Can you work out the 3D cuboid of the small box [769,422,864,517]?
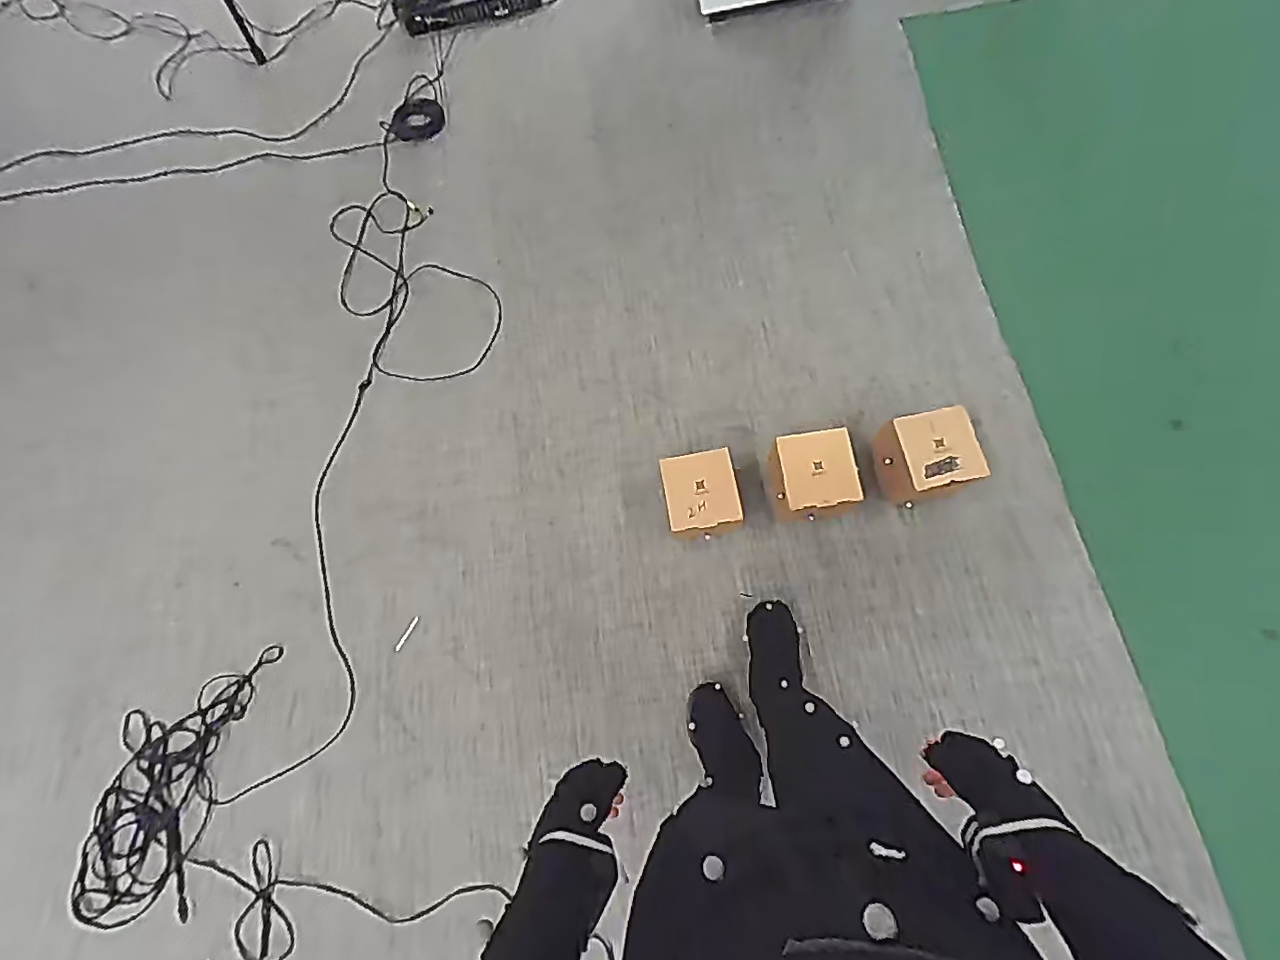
[{"bbox_3d":[0.412,-0.020,1.296,0.168,0.176,0.179,-8,75,4],"label":"small box"}]

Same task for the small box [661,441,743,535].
[{"bbox_3d":[0.148,0.025,1.309,0.168,0.176,0.179,-10,75,5],"label":"small box"}]

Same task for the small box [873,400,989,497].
[{"bbox_3d":[0.677,-0.066,1.278,0.168,0.176,0.179,-11,74,3],"label":"small box"}]
